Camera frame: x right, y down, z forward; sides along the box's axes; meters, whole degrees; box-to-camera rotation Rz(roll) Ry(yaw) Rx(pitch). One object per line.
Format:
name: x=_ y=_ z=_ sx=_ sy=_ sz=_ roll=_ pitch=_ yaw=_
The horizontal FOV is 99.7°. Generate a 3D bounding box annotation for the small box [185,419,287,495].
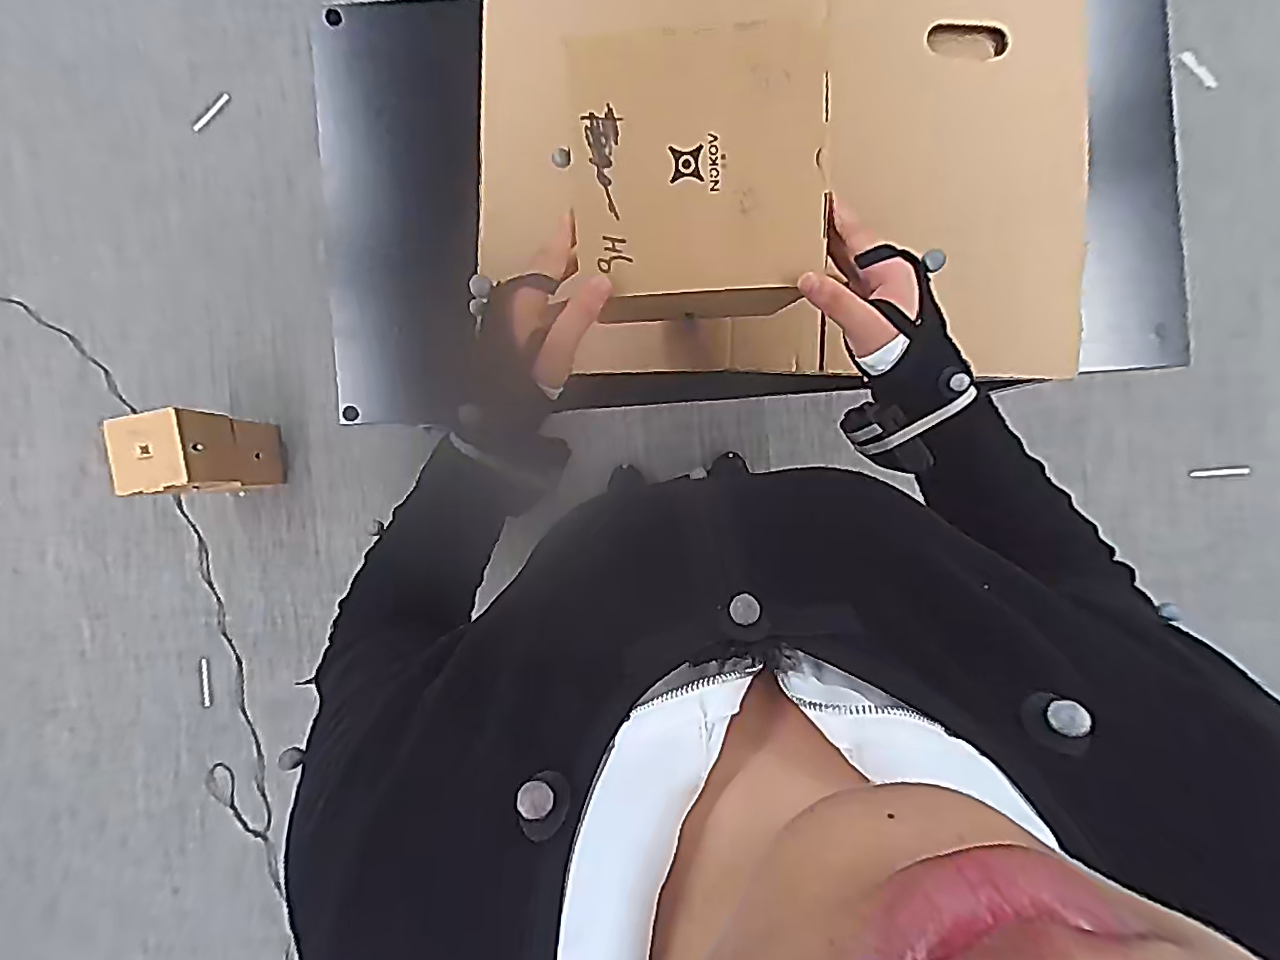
small box: x=-1.088 y=-0.058 z=1.451 sx=0.168 sy=0.176 sz=0.179 roll=-8 pitch=91 yaw=1

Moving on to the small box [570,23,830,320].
small box: x=0.041 y=-0.231 z=0.448 sx=0.179 sy=0.176 sz=0.168 roll=-3 pitch=98 yaw=0

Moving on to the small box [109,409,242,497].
small box: x=-1.092 y=-0.063 z=1.288 sx=0.168 sy=0.176 sz=0.179 roll=-11 pitch=90 yaw=1
